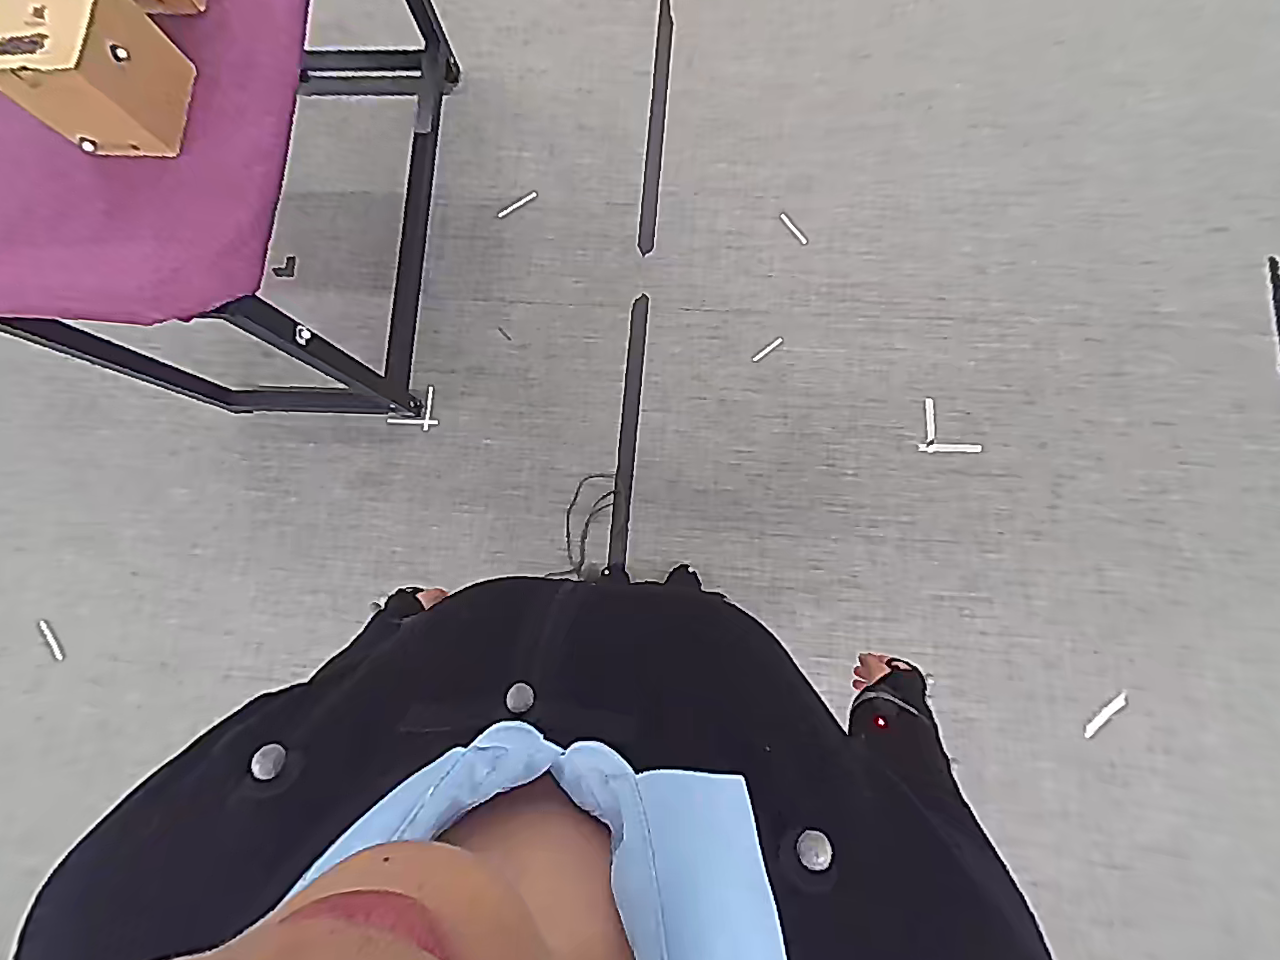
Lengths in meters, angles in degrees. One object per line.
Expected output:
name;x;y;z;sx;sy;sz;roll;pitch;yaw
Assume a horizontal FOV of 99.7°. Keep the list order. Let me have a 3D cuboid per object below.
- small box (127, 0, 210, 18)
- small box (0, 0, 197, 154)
small box;-0.854;-0.938;0.911;0.168;0.176;0.179;4;82;3
small box;-0.865;-0.657;0.866;0.168;0.176;0.179;4;81;3
